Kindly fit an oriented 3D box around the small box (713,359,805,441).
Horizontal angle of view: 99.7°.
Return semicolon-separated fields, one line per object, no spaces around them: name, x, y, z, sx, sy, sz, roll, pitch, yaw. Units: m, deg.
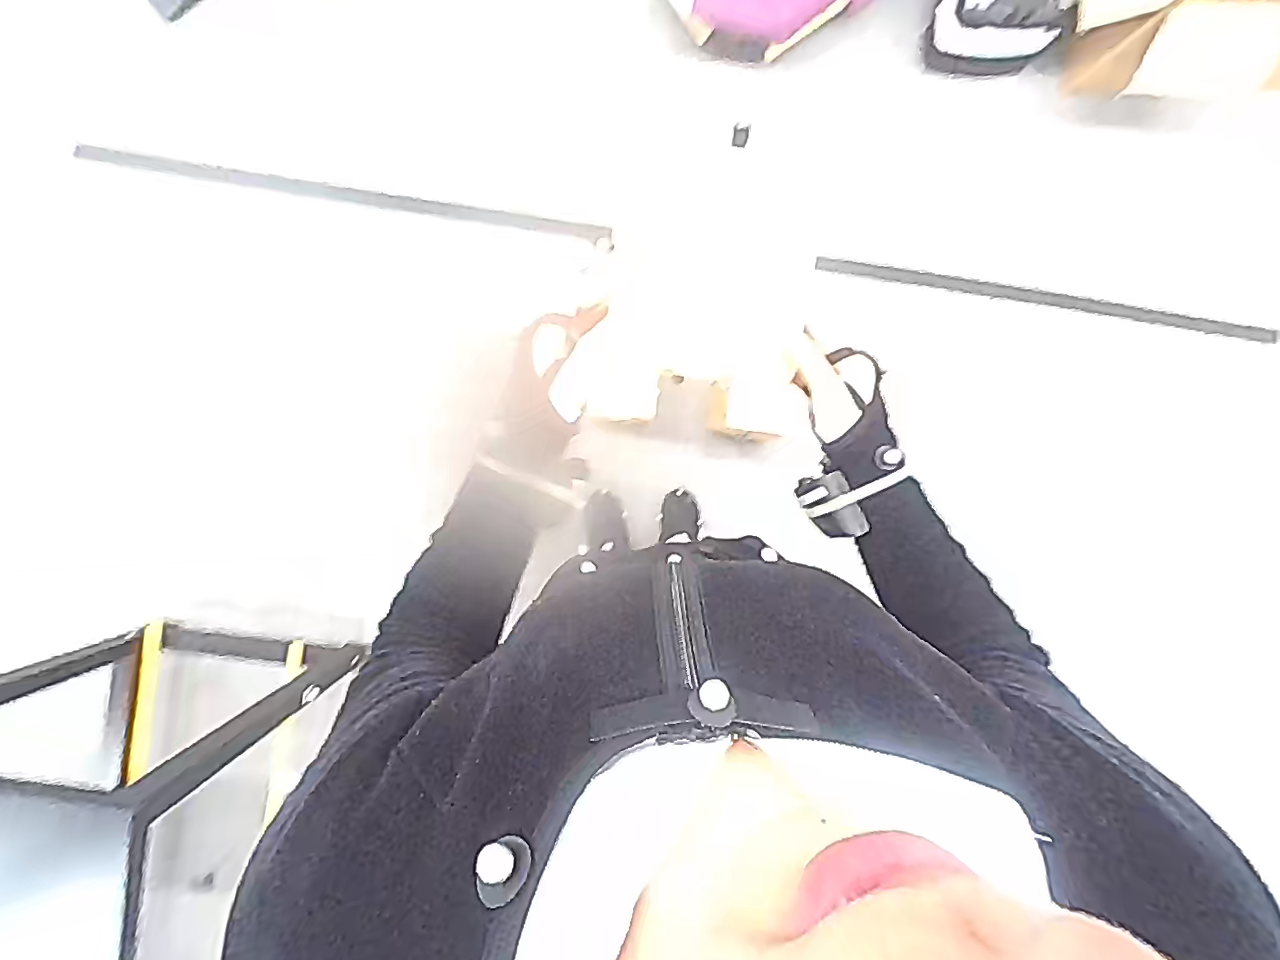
small box;0.270;-0.187;1.263;0.168;0.176;0.179;7;93;0

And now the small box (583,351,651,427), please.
small box;-0.056;-0.232;1.415;0.168;0.176;0.179;2;92;-1

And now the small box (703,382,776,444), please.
small box;0.272;-0.190;1.425;0.179;0.176;0.168;12;92;-3
